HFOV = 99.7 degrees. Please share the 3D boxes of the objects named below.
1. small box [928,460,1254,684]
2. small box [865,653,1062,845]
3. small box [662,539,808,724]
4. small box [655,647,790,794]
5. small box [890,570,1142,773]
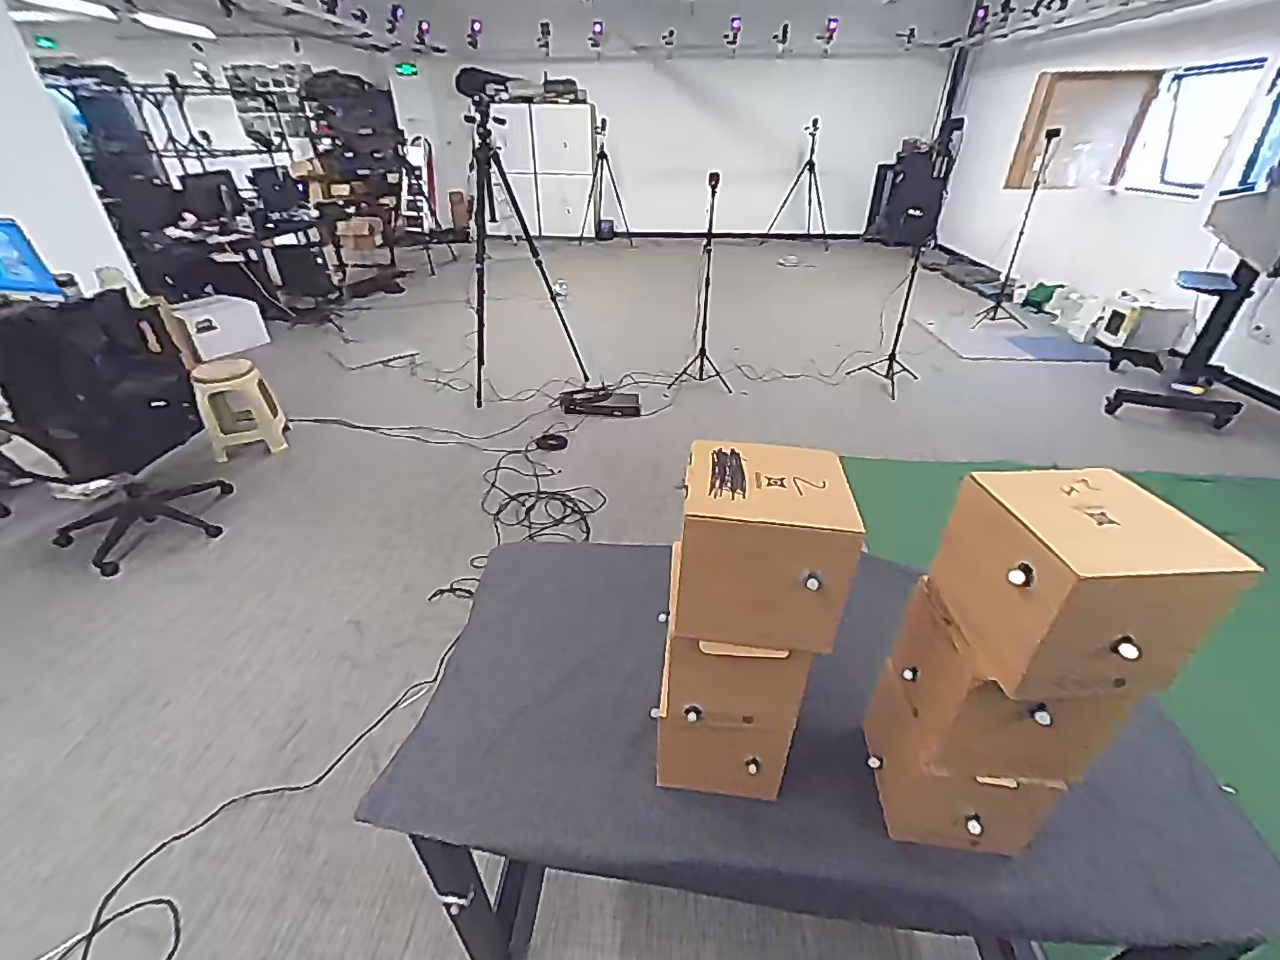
[{"bbox_3d":[0.439,0.096,0.568,0.168,0.176,0.179,-2,32,-2],"label":"small box"},{"bbox_3d":[0.426,0.370,0.749,0.168,0.176,0.179,3,32,7],"label":"small box"},{"bbox_3d":[0.116,0.199,0.722,0.168,0.176,0.179,2,30,3],"label":"small box"},{"bbox_3d":[0.117,0.340,0.807,0.179,0.176,0.168,2,31,6],"label":"small box"},{"bbox_3d":[0.434,0.232,0.663,0.179,0.176,0.168,2,32,5],"label":"small box"}]
